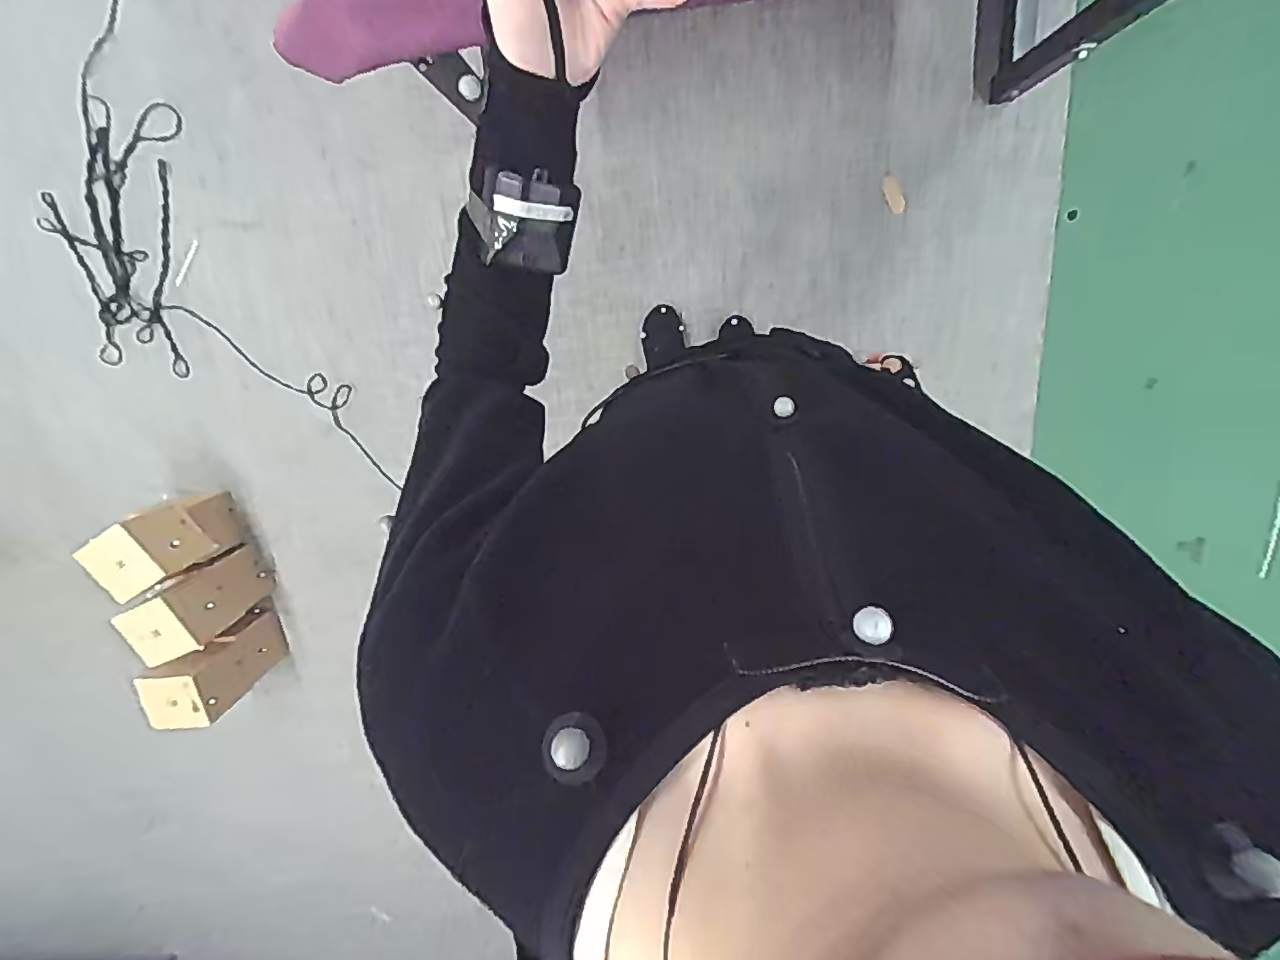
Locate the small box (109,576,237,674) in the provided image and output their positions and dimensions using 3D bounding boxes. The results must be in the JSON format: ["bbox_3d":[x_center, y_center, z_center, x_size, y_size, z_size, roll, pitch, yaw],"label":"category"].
[{"bbox_3d":[-1.248,0.387,1.467,0.179,0.176,0.168,-22,104,10],"label":"small box"}]

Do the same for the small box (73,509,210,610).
[{"bbox_3d":[-1.283,0.200,1.412,0.179,0.176,0.168,-30,102,12],"label":"small box"}]

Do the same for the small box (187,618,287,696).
[{"bbox_3d":[-1.249,0.542,1.682,0.168,0.176,0.179,-5,107,6],"label":"small box"}]
